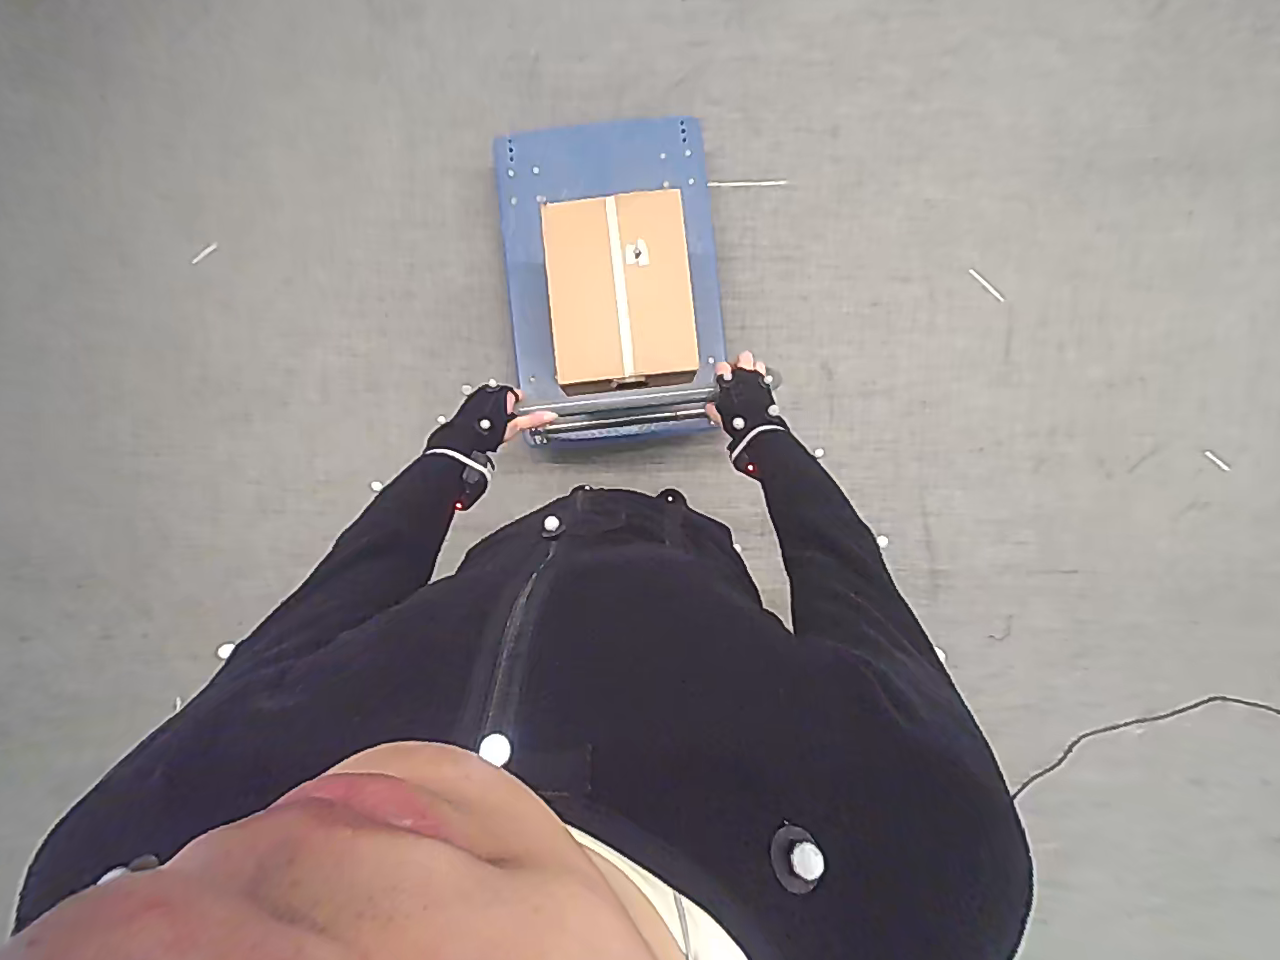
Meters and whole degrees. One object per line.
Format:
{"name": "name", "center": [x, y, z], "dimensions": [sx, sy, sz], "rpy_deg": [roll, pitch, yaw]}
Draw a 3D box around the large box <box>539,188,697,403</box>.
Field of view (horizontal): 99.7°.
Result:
{"name": "large box", "center": [-0.046, -0.427, 1.338], "dimensions": [0.320, 0.320, 0.408], "rpy_deg": [-6, 89, 0]}
